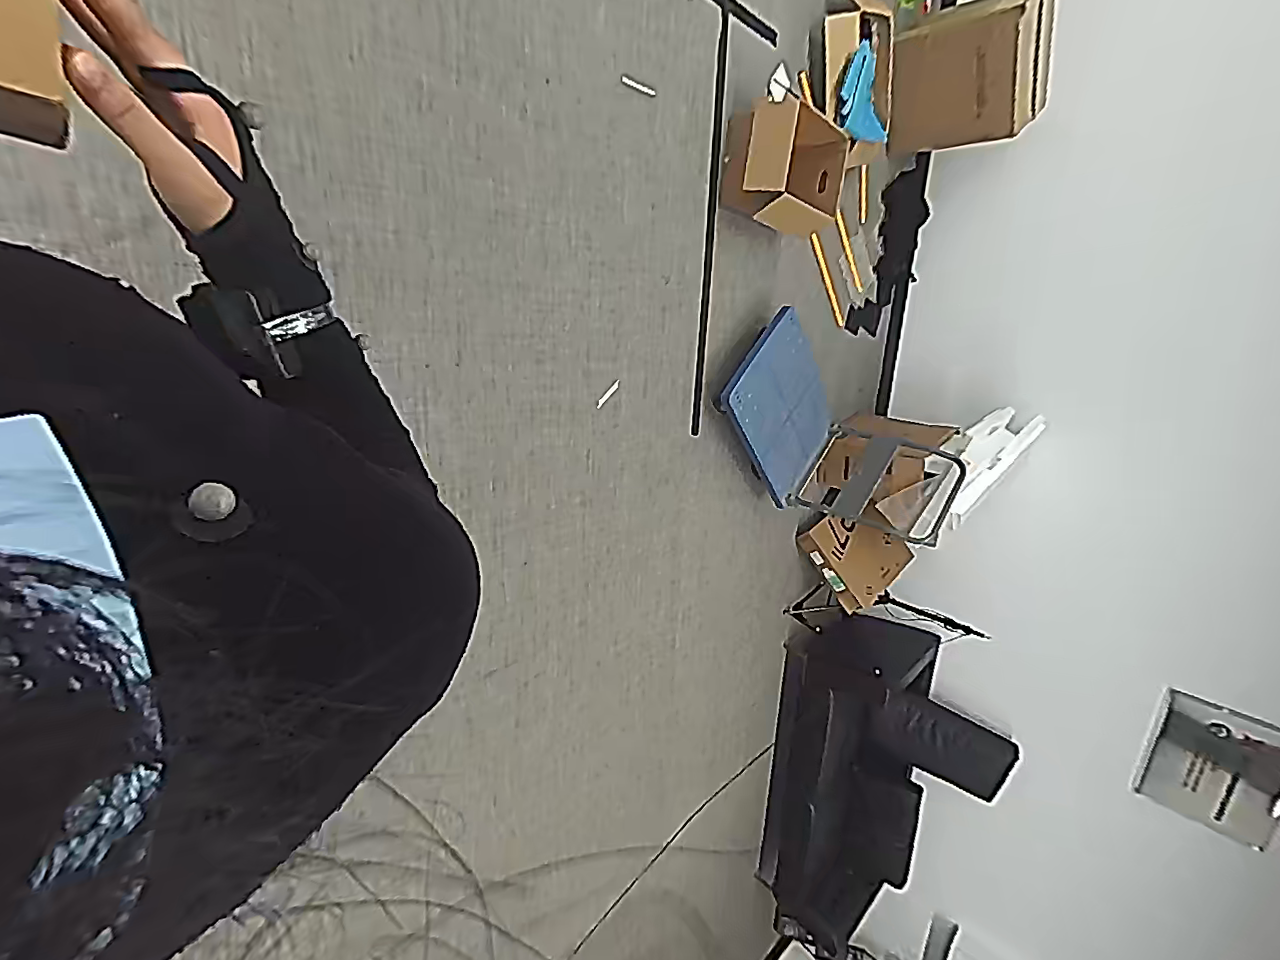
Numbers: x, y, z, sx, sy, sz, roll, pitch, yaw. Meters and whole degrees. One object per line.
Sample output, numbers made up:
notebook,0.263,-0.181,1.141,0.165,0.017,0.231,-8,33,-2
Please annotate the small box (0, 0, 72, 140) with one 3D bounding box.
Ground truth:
small box,-0.358,-0.269,0.223,0.168,0.176,0.179,-6,110,-46
